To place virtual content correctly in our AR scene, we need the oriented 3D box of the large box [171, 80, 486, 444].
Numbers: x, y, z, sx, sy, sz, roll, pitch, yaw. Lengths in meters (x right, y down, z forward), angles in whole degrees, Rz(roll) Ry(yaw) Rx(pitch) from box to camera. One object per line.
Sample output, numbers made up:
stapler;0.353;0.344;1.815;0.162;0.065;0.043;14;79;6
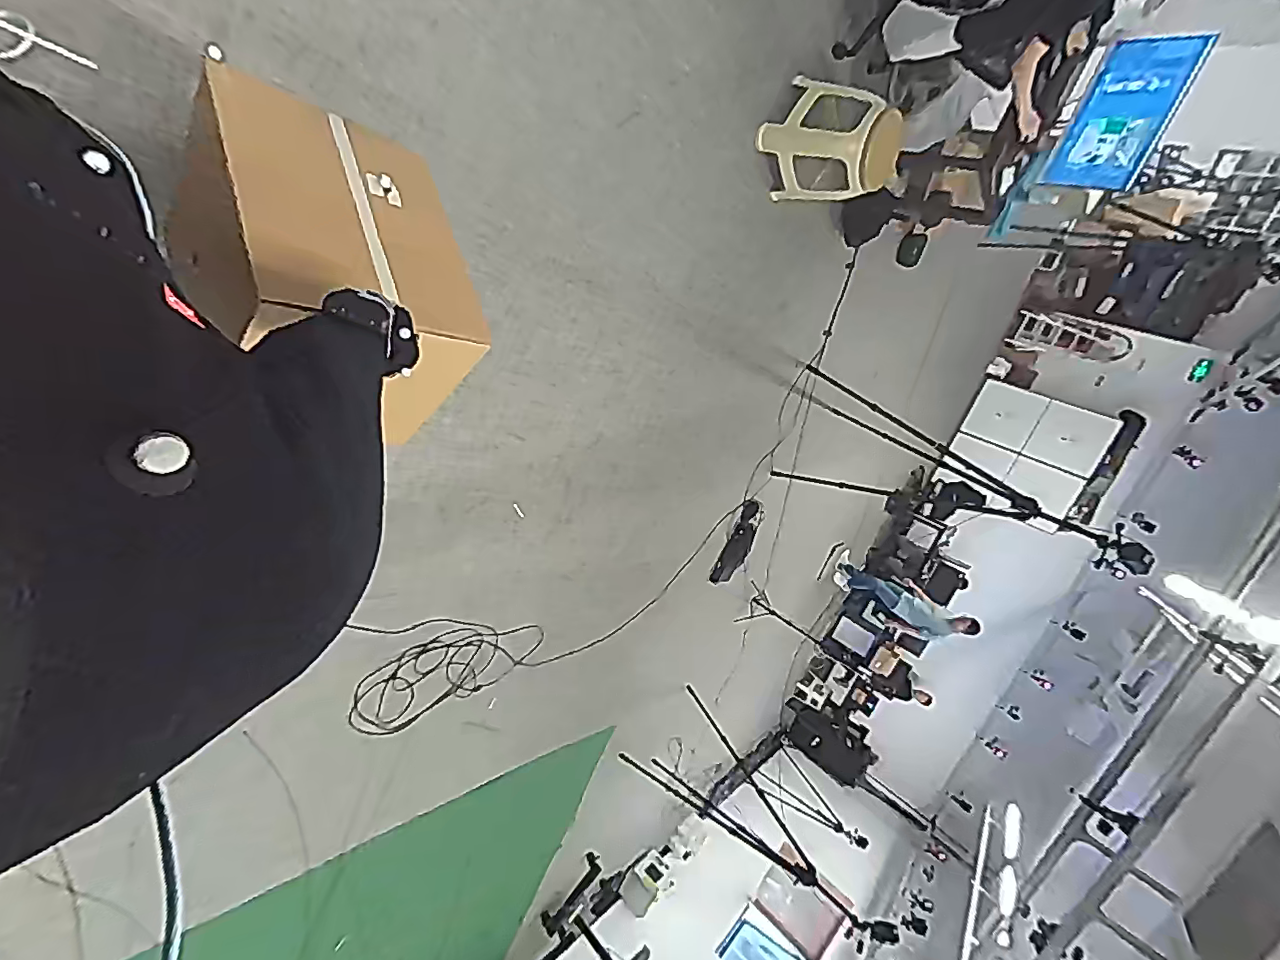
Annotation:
large box;-0.514;-0.303;0.878;0.320;0.408;0.320;-34;161;34
